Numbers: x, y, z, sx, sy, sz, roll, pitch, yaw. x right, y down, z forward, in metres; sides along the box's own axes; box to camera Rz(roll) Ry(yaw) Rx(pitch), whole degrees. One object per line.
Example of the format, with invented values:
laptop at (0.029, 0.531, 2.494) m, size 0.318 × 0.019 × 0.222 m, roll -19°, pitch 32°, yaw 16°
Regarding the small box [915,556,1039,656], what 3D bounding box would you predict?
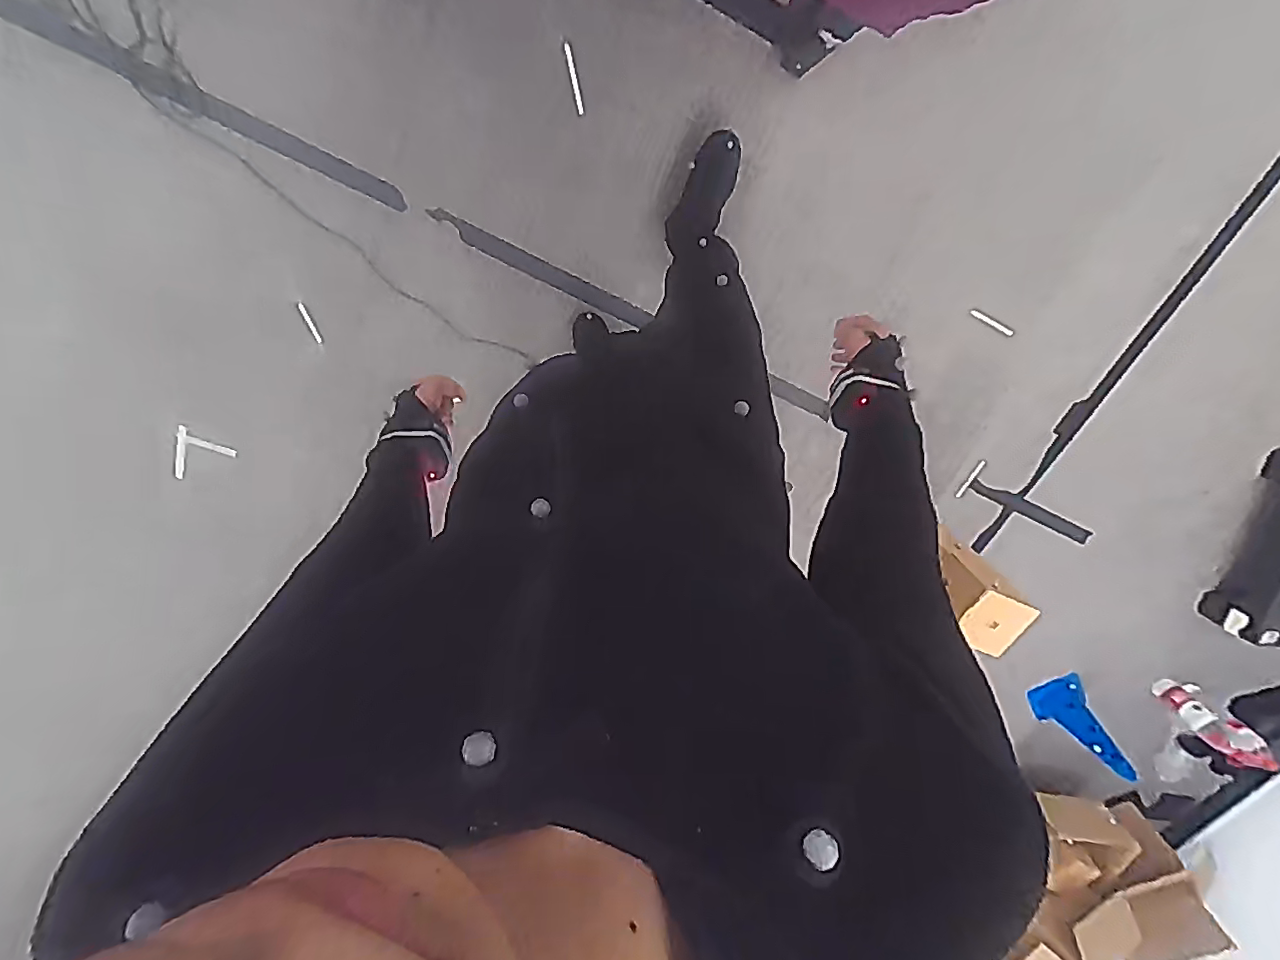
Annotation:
small box at (0.876, 0.326, 1.422) m, size 0.179 × 0.176 × 0.168 m, roll 22°, pitch 113°, yaw -12°
